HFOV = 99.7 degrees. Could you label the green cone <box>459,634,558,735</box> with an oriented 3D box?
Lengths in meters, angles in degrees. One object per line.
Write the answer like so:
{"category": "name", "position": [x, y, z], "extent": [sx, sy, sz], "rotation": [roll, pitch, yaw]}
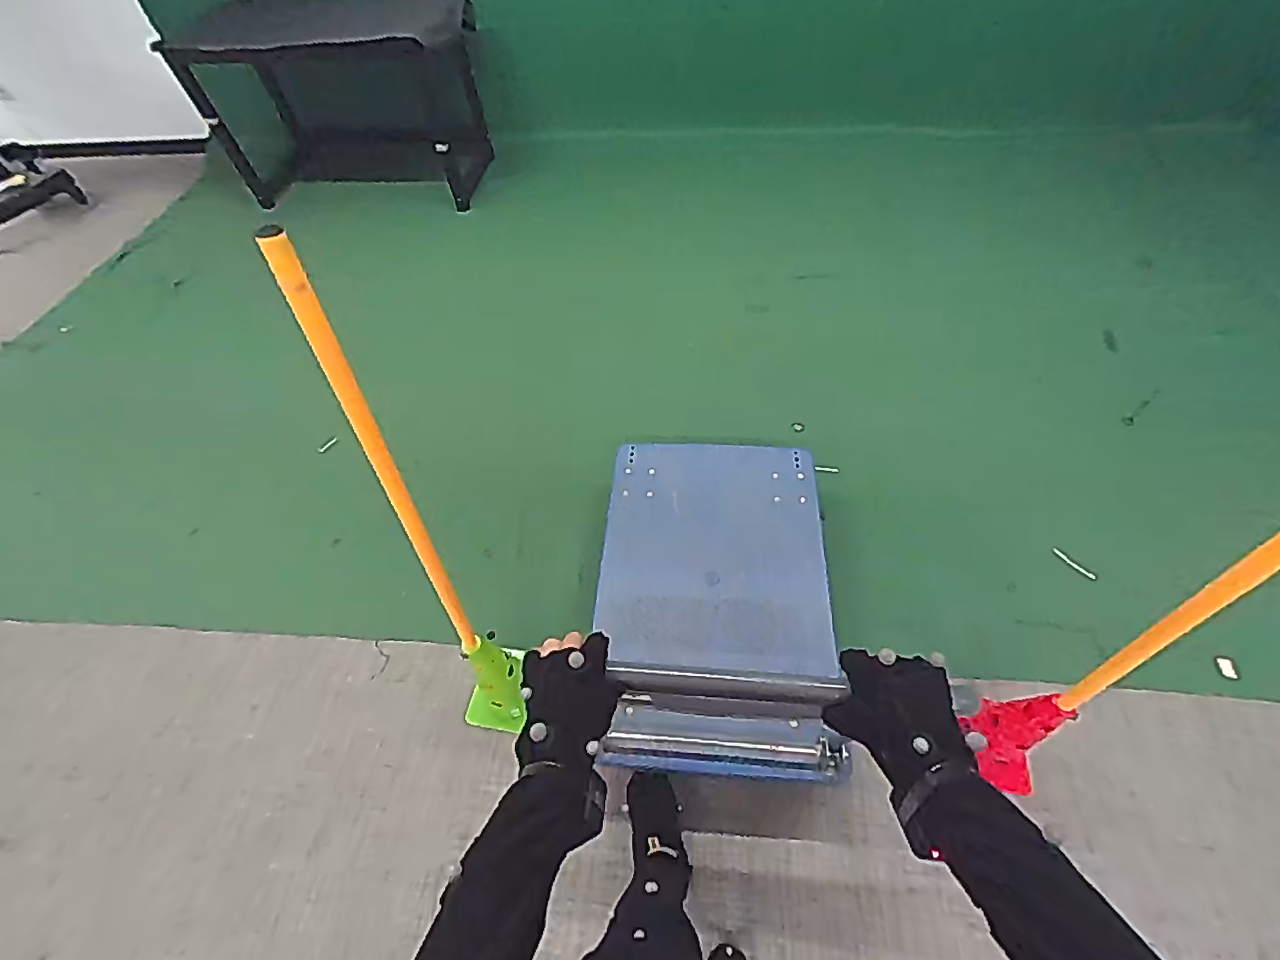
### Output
{"category": "green cone", "position": [-0.341, 0.445, 1.273], "extent": [0.202, 0.368, 0.200], "rotation": [6, 54, 9]}
